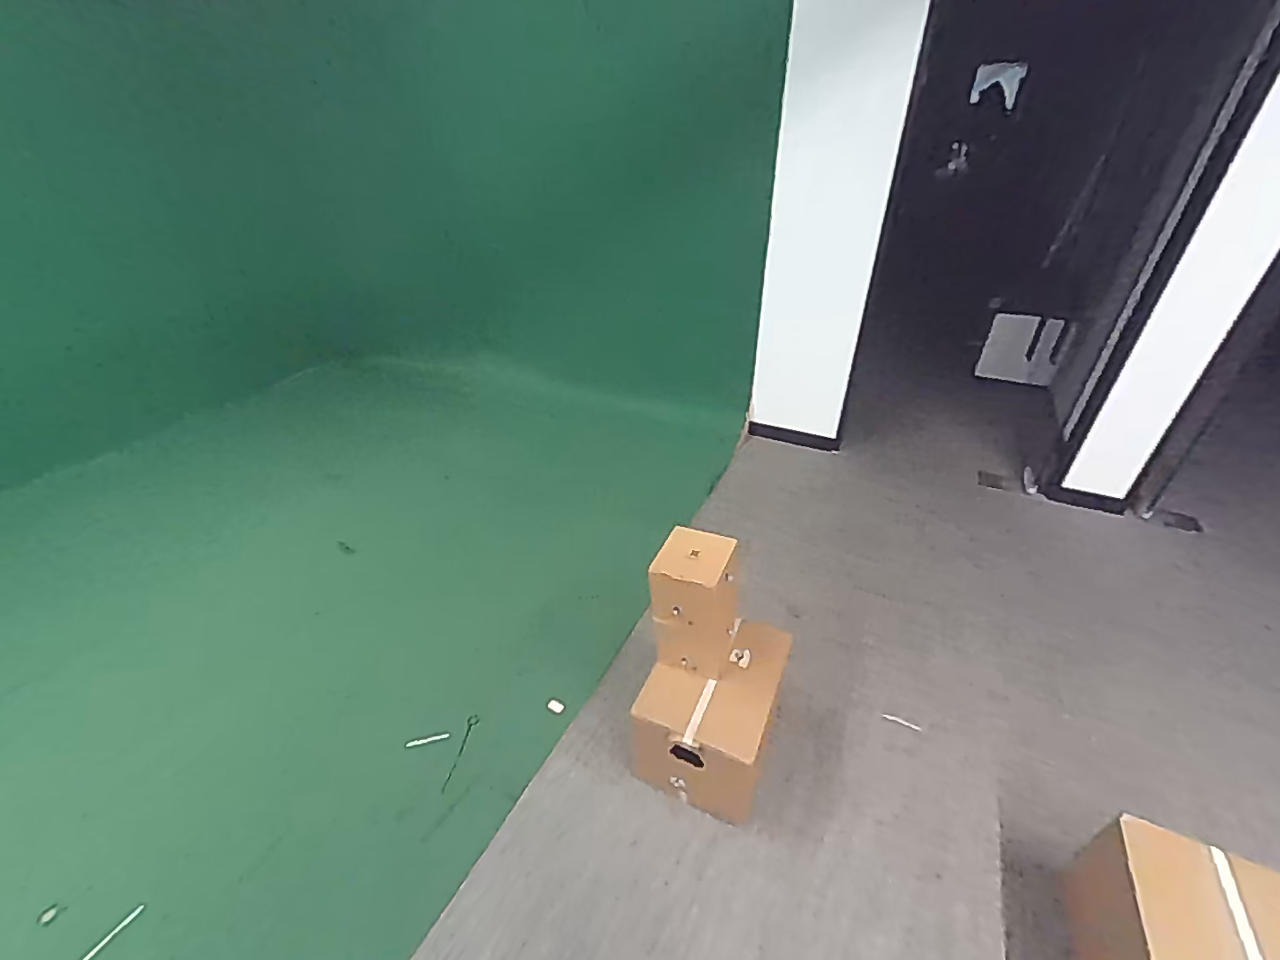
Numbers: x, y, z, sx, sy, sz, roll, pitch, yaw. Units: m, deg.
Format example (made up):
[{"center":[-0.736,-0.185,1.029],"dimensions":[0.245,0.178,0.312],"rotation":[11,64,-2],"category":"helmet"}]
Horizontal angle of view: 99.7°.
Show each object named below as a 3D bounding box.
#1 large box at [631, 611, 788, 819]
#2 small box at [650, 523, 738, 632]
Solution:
[{"center":[0.201,0.621,1.500],"dimensions":[0.320,0.320,0.408],"rotation":[14,38,22],"category":"large box"},{"center":[0.136,0.239,1.337],"dimensions":[0.168,0.176,0.179],"rotation":[12,39,23],"category":"small box"}]
